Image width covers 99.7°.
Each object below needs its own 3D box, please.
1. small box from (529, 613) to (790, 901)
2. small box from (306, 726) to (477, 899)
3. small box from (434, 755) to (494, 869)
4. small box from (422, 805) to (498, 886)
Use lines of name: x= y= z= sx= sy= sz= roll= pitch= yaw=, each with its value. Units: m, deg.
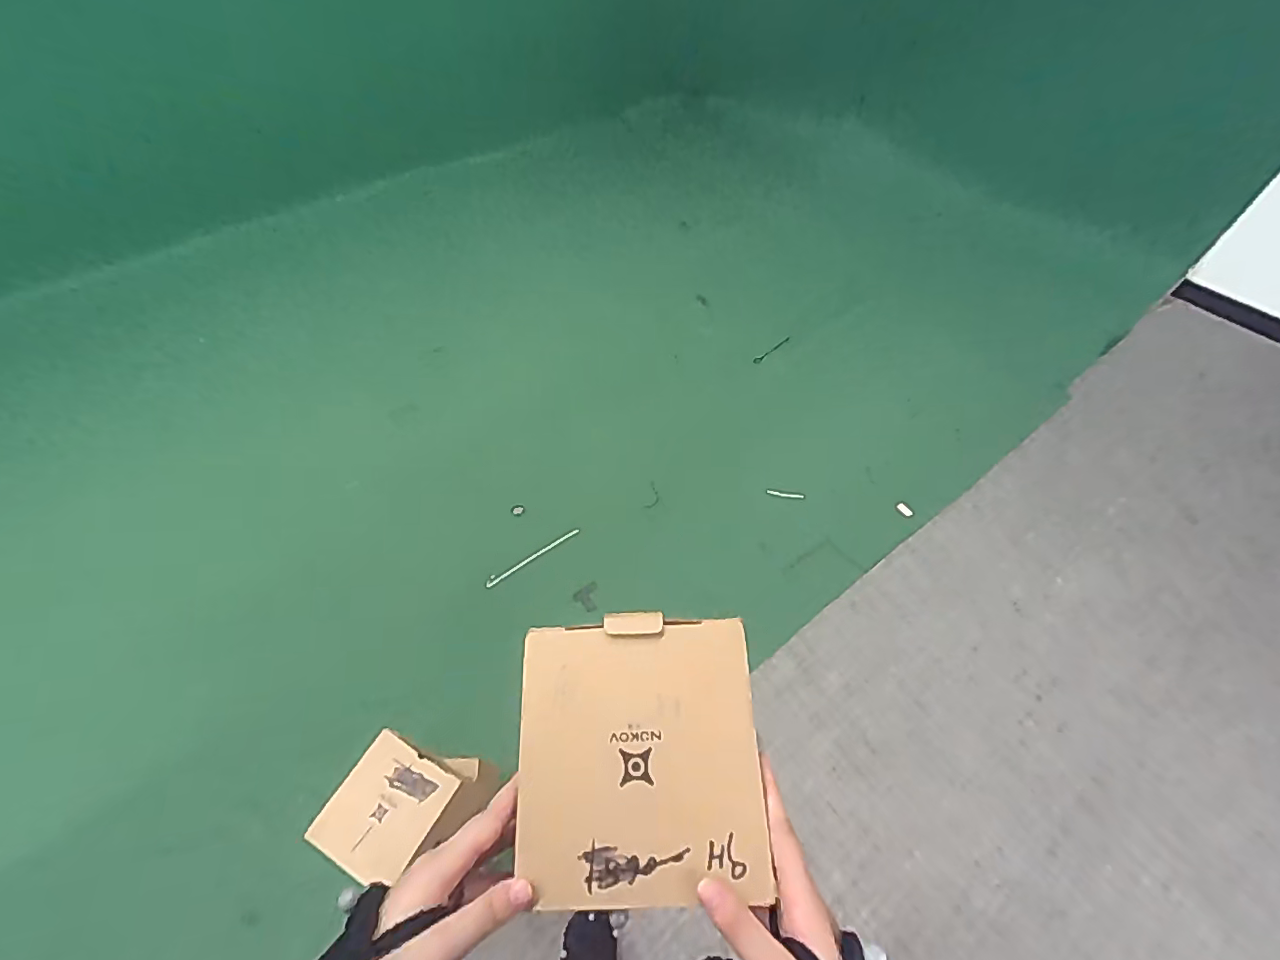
small box: x=0.014 y=0.214 z=0.443 sx=0.168 sy=0.176 sz=0.179 roll=-3 pitch=66 yaw=2
small box: x=-0.391 y=0.543 z=0.893 sx=0.168 sy=0.176 sz=0.179 roll=25 pitch=59 yaw=15
small box: x=-0.385 y=0.633 z=1.030 sx=0.168 sy=0.176 sz=0.179 roll=0 pitch=54 yaw=-2
small box: x=-0.413 y=0.739 z=1.154 sx=0.168 sy=0.176 sz=0.179 roll=-18 pitch=56 yaw=-12
